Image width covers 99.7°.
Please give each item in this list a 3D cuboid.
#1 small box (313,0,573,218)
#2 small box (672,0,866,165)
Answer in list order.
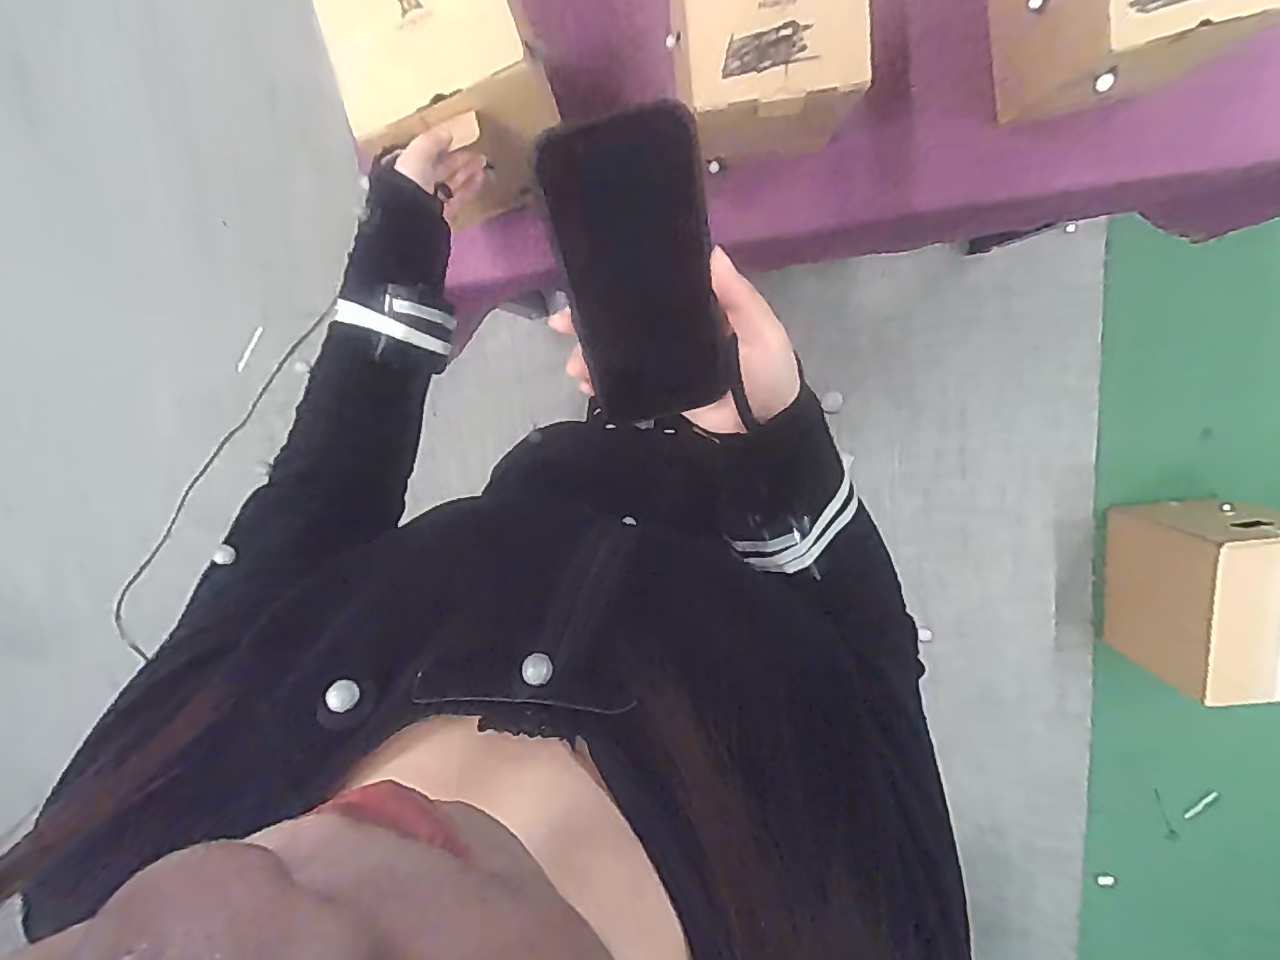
[{"bbox_3d":[-0.182,-0.393,0.541,0.168,0.176,0.179,-18,86,8],"label":"small box"},{"bbox_3d":[0.123,-0.452,0.565,0.168,0.176,0.179,-6,101,3],"label":"small box"}]
